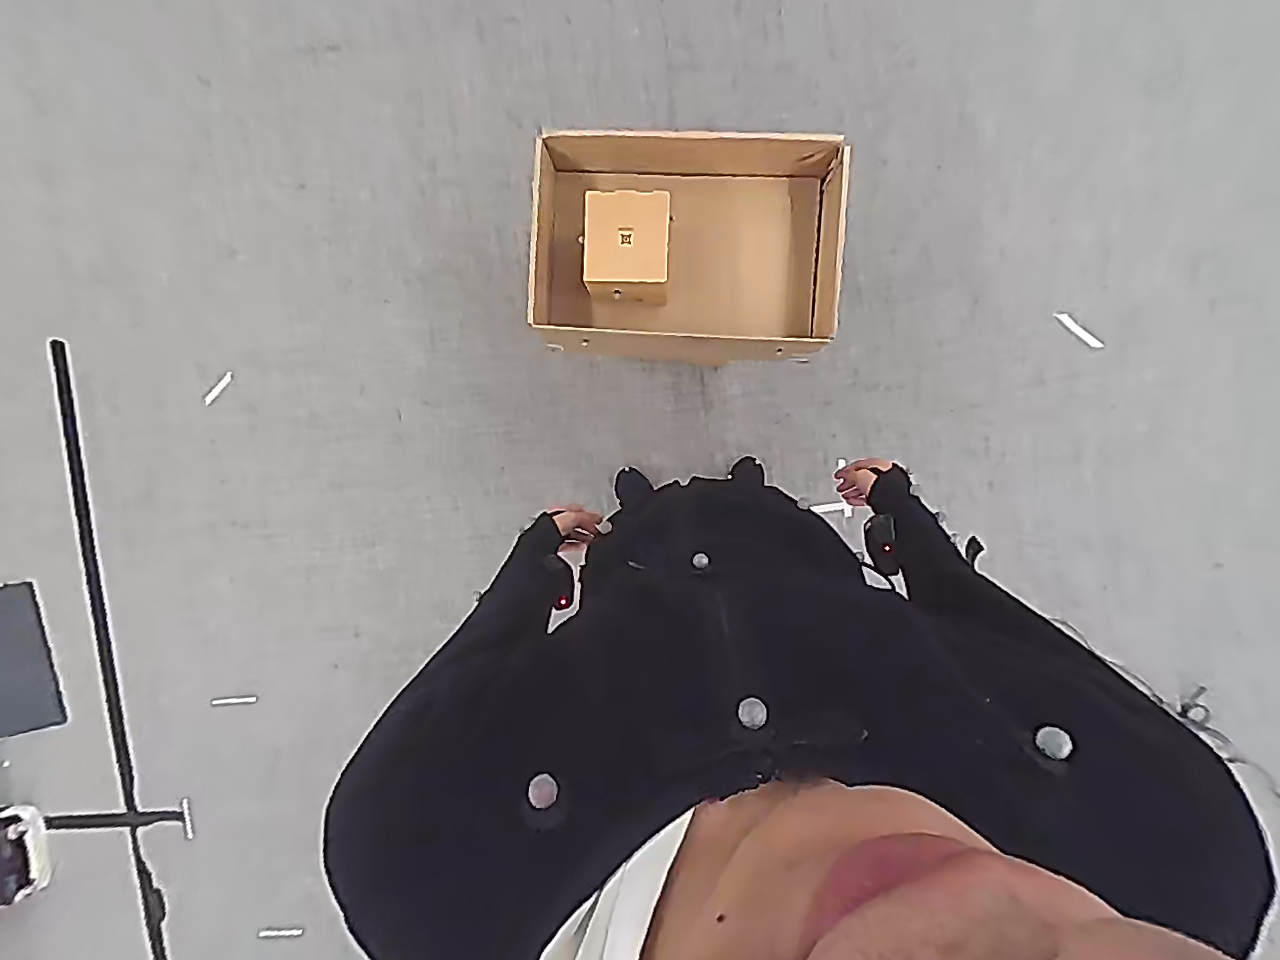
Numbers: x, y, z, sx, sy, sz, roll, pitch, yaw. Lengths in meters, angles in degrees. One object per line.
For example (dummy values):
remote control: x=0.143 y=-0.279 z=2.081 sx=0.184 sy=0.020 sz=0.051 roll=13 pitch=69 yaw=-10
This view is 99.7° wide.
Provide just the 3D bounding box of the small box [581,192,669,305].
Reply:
small box: x=-0.026 y=-0.470 z=1.120 sx=0.168 sy=0.176 sz=0.179 roll=2 pitch=92 yaw=3
